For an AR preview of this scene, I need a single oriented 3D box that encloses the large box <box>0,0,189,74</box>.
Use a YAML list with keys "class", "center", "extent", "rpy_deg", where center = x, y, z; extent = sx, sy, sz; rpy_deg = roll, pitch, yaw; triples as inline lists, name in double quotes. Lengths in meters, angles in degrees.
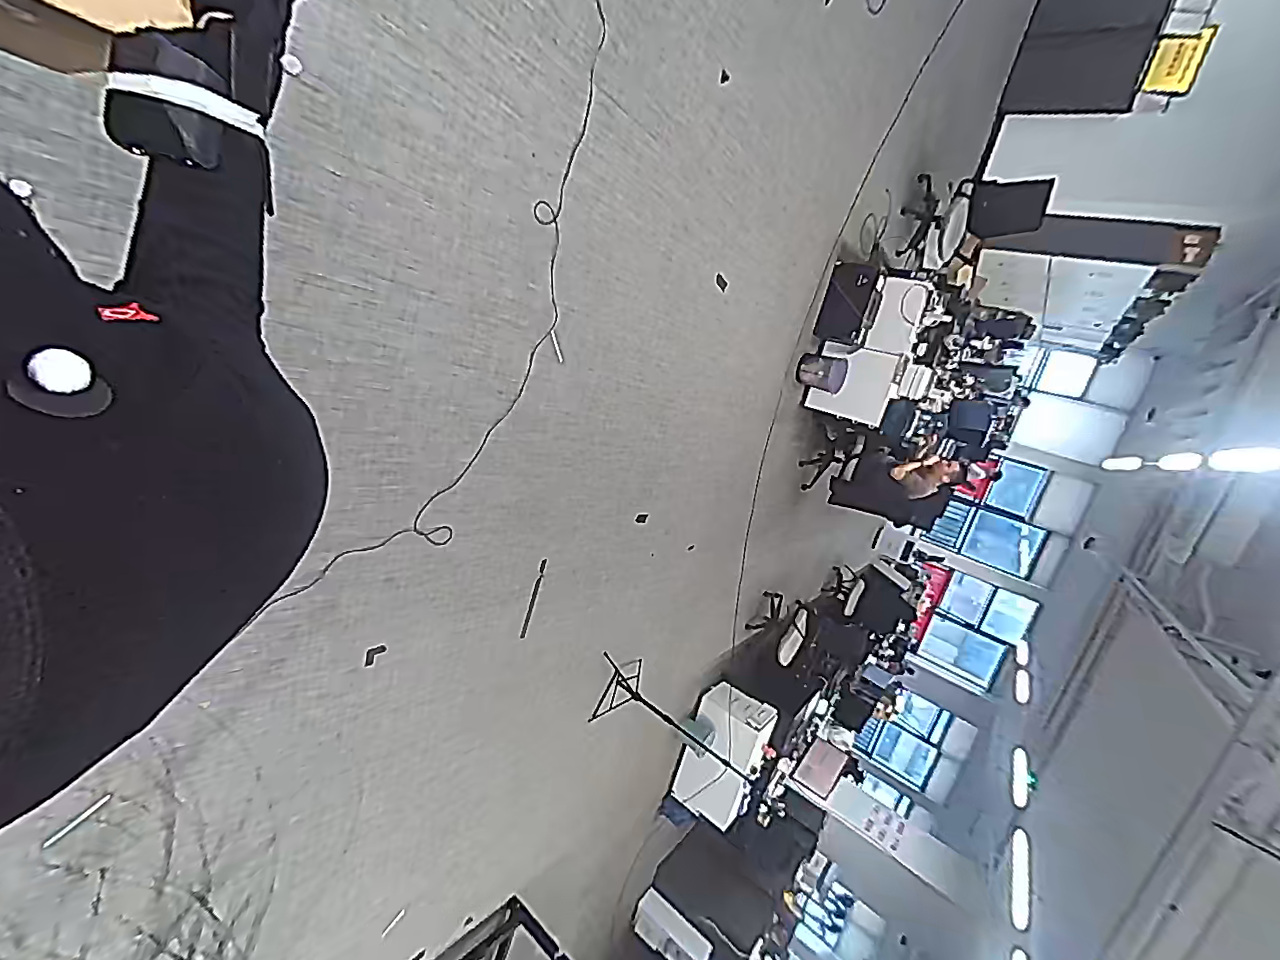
- class: "large box"
  center: [-0.498, -0.455, 0.236]
  extent: [0.408, 0.320, 0.320]
  rpy_deg: [-7, 118, -57]
